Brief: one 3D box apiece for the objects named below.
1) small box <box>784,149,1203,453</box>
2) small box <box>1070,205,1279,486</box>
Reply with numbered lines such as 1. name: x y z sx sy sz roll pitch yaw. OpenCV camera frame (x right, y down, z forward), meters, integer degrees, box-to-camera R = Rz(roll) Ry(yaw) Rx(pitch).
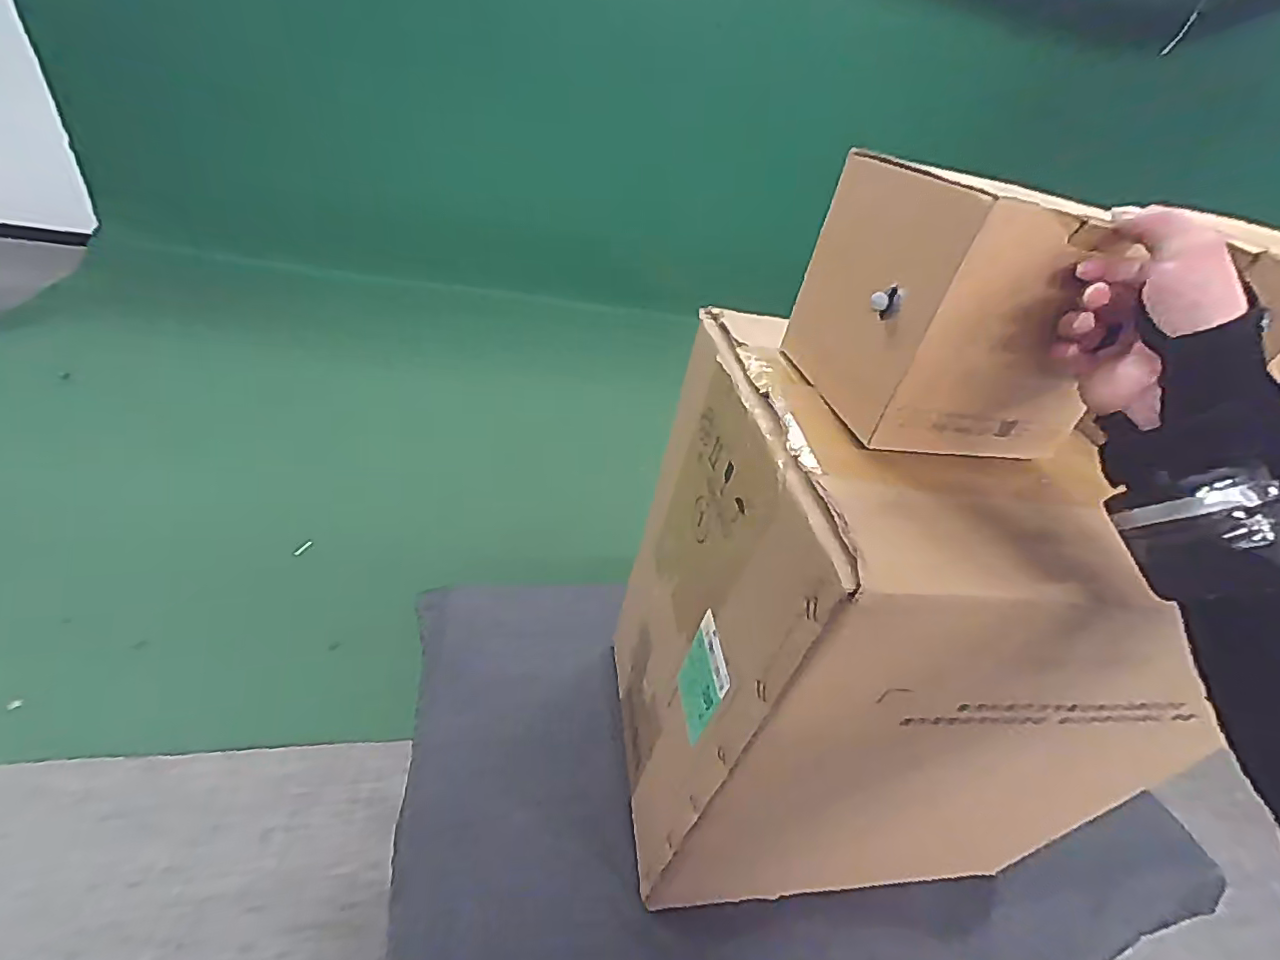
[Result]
1. small box: 0.239 -0.137 0.422 0.168 0.176 0.179 3 37 -14
2. small box: 0.494 -0.110 0.459 0.179 0.176 0.168 3 43 -11
